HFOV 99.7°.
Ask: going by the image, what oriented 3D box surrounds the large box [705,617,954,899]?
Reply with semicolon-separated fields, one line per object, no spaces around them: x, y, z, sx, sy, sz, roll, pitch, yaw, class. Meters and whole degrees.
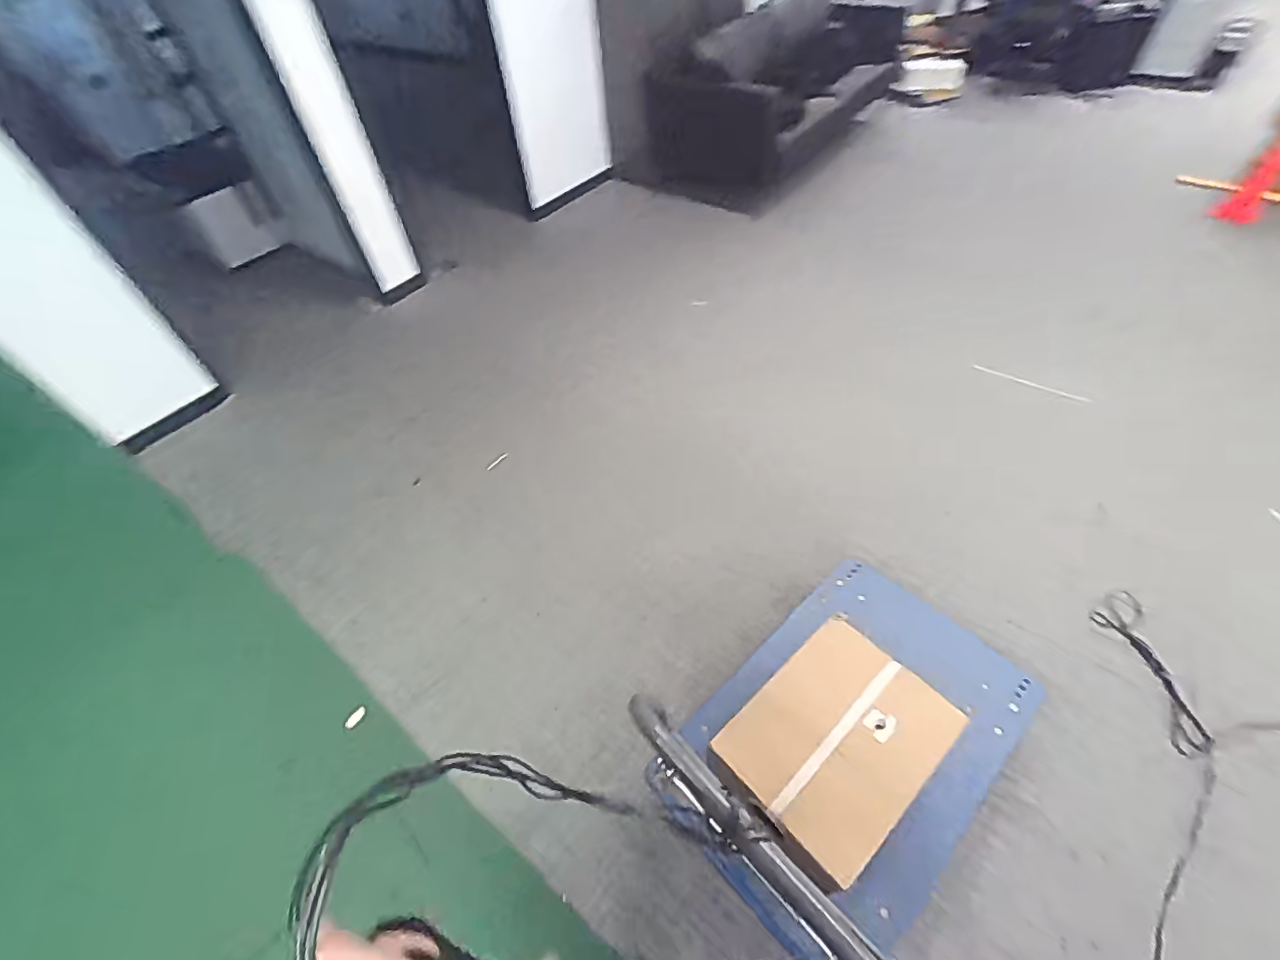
0.385;0.593;1.172;0.408;0.320;0.320;-35;56;-24;large box
